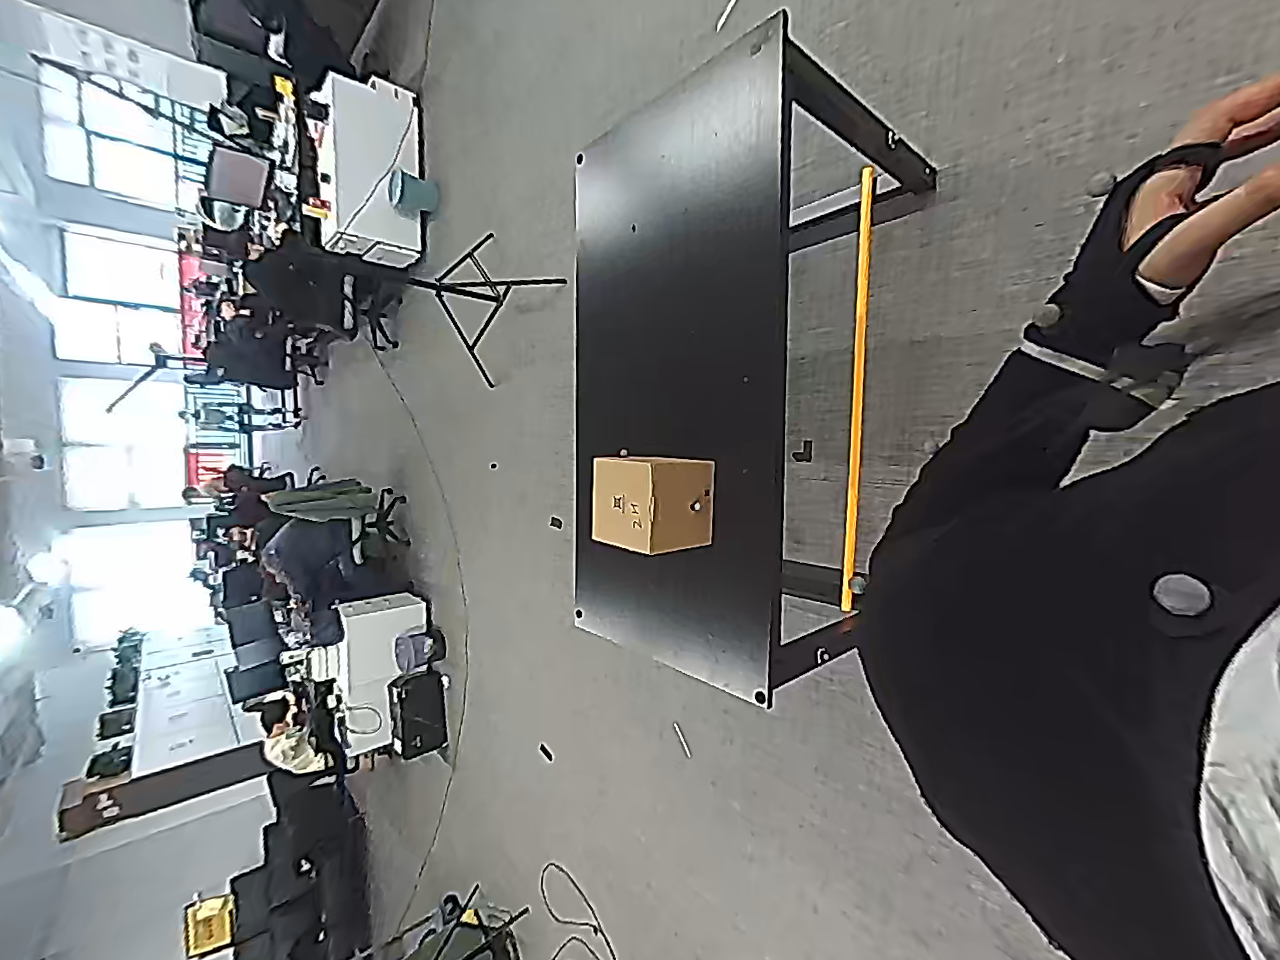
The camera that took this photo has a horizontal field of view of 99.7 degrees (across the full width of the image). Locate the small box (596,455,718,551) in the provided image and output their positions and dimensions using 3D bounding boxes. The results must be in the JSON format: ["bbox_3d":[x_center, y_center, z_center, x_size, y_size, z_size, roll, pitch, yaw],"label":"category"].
[{"bbox_3d":[0.032,0.038,1.070,0.179,0.176,0.168,8,98,49],"label":"small box"}]
